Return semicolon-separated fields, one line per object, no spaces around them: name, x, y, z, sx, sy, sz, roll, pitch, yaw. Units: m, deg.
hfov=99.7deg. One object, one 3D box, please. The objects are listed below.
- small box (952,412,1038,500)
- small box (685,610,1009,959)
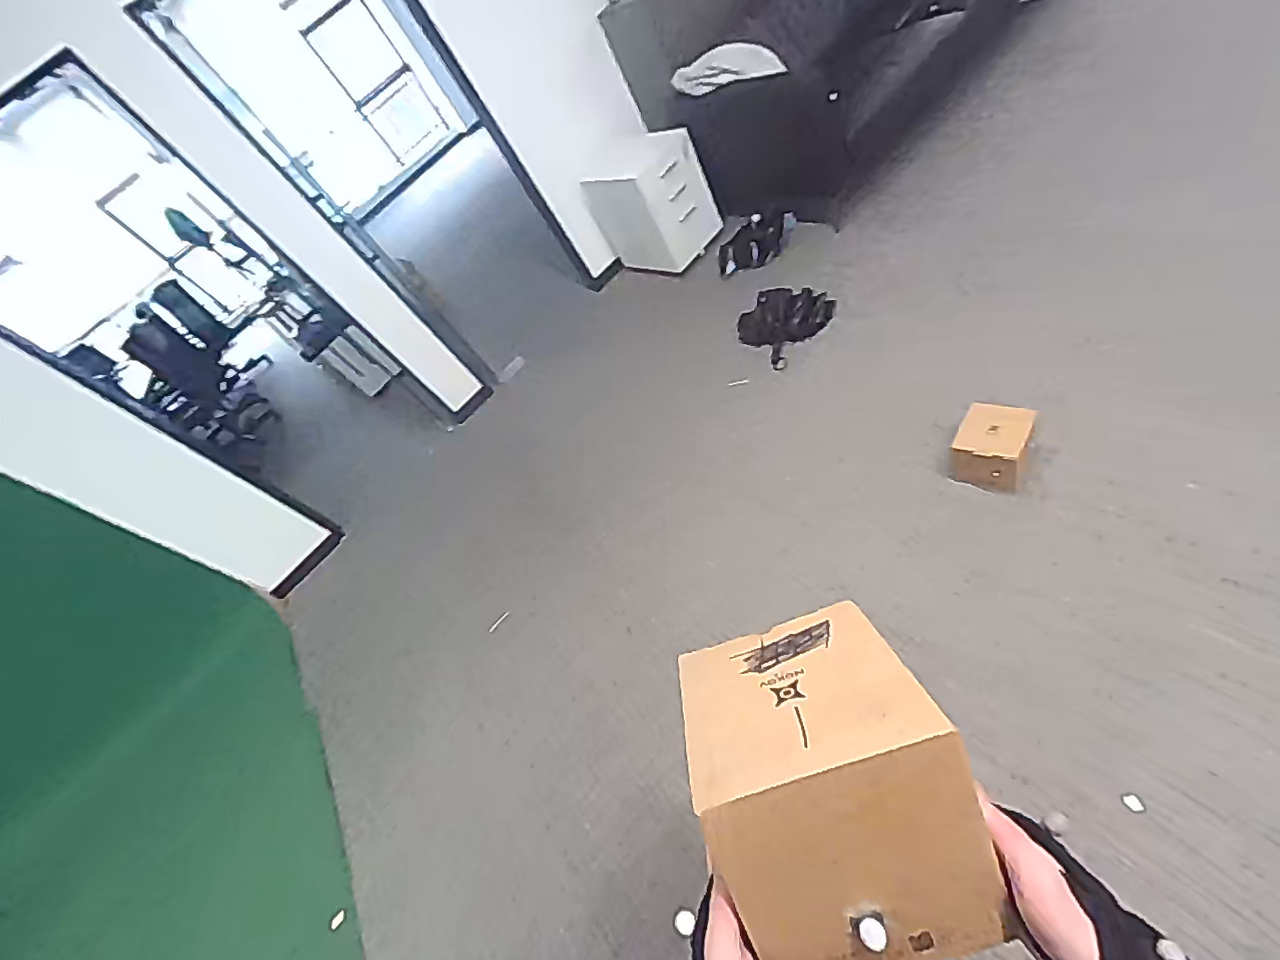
small box;1.027;-0.067;1.565;0.168;0.176;0.179;18;65;41
small box;0.140;0.233;0.418;0.168;0.176;0.179;-20;12;7
